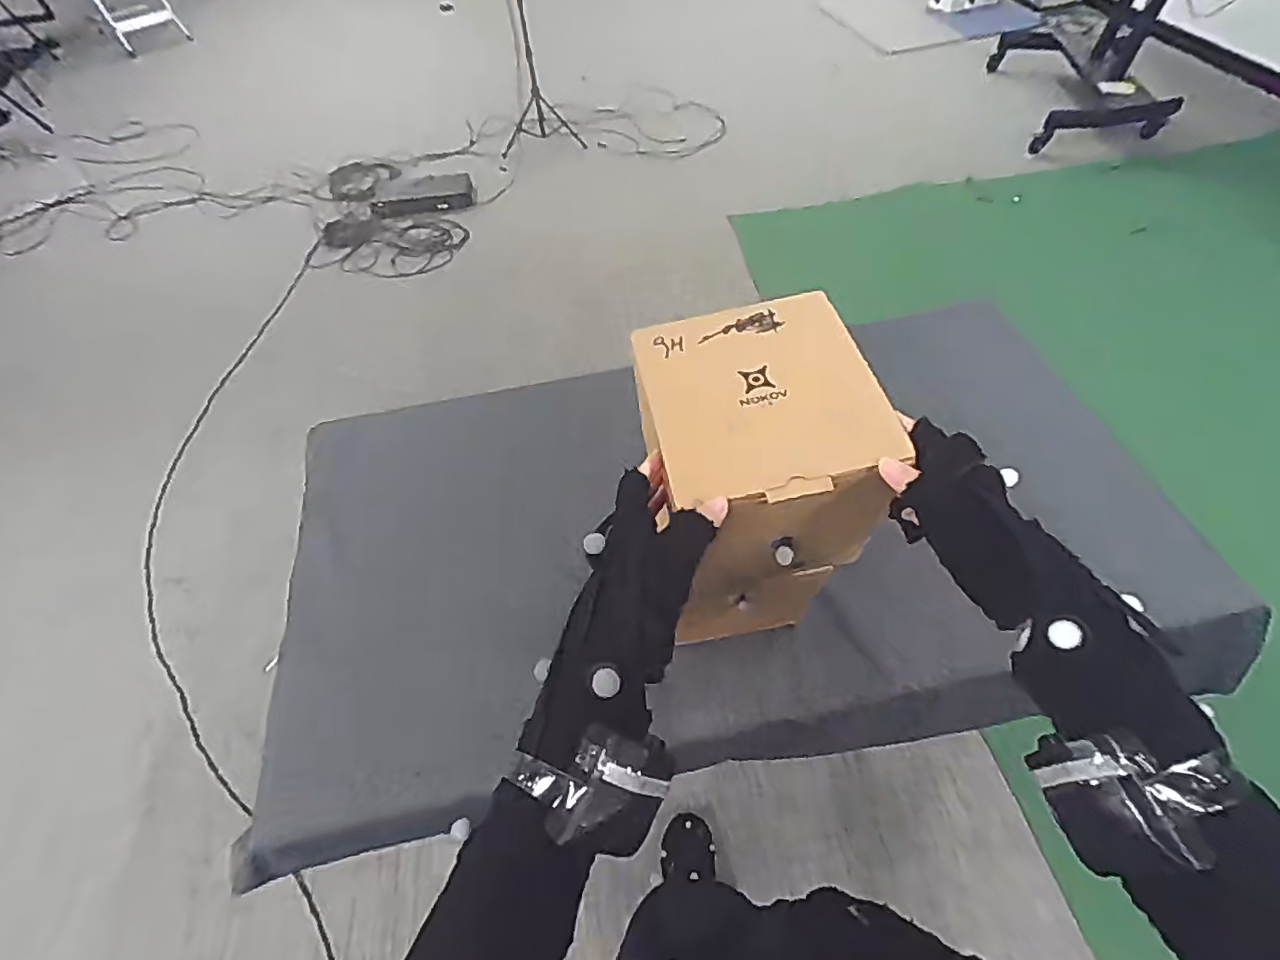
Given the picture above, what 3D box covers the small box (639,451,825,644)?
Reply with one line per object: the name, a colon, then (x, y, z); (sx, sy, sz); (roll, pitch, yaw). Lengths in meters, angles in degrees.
small box: (0.100, 0.089, 0.670); (0.179, 0.176, 0.168); (-9, 56, -4)
